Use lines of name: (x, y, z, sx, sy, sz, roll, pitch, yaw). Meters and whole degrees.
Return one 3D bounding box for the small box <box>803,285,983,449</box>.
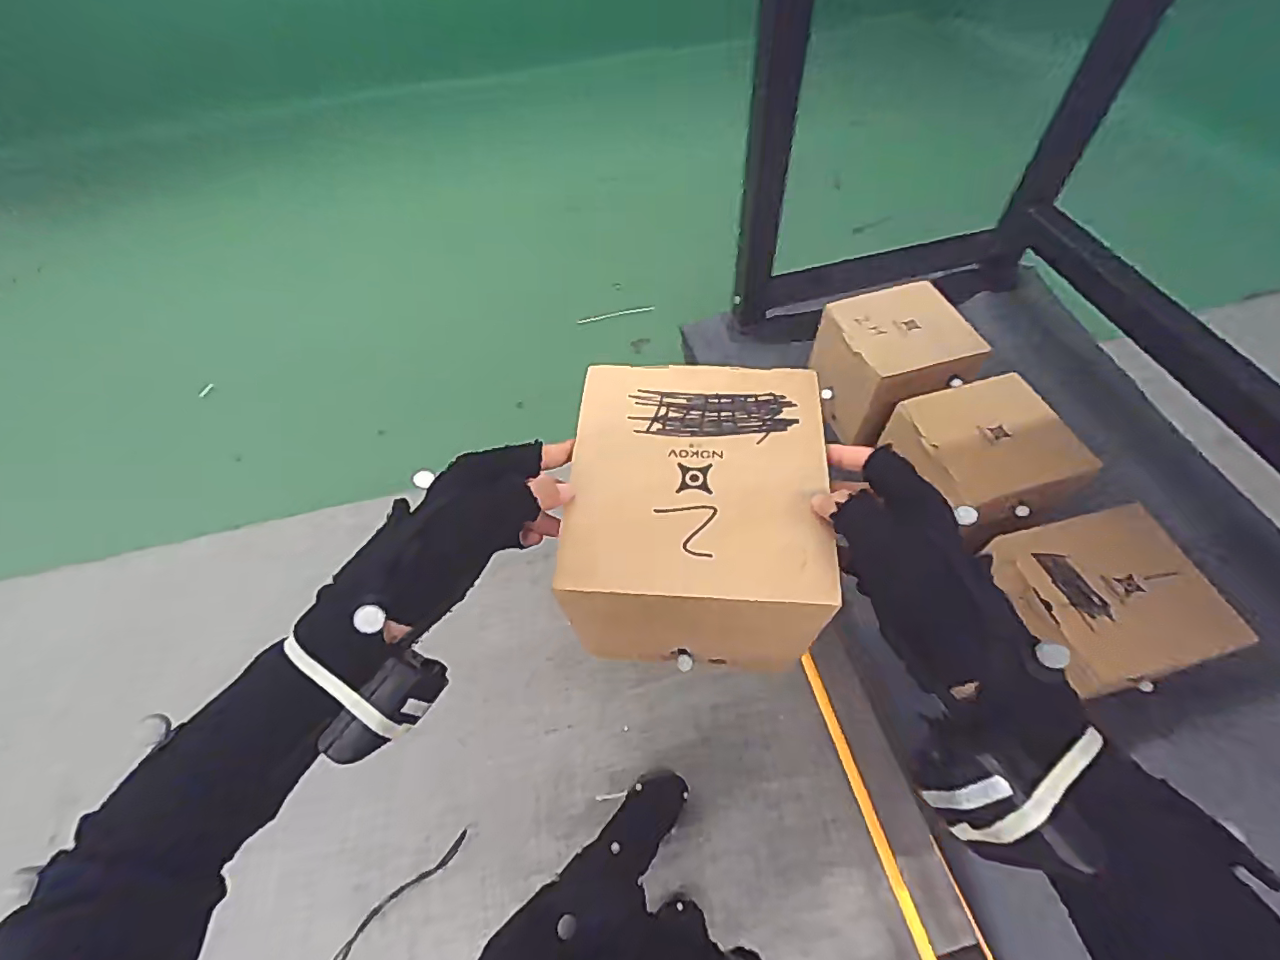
small box: (0.384, -0.175, 0.858, 0.179, 0.176, 0.168, -15, 56, -6)
